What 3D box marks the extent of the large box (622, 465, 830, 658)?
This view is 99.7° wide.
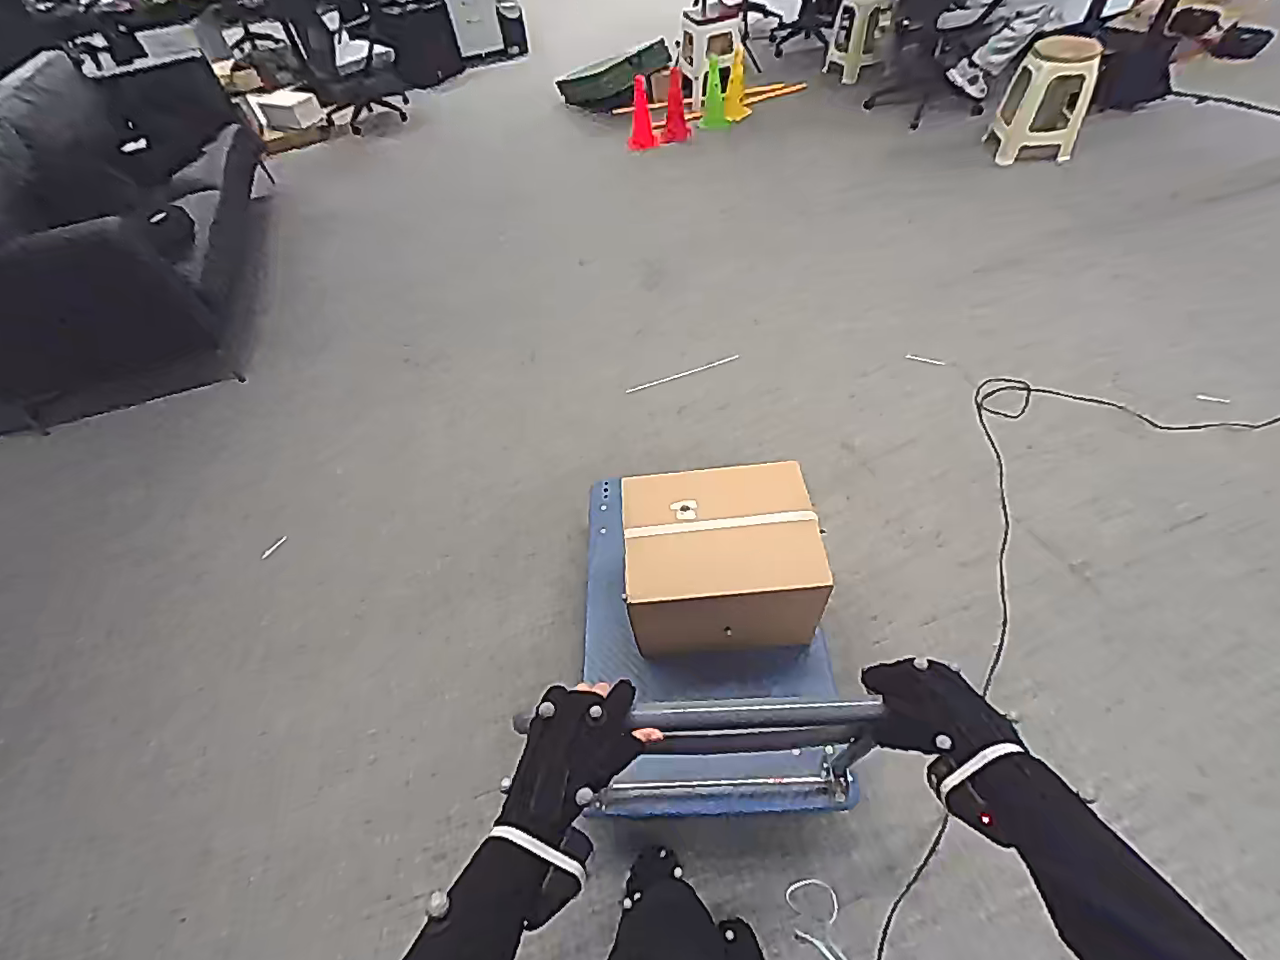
[{"bbox_3d":[0.185,0.200,1.267,0.408,0.320,0.320,-7,51,4],"label":"large box"}]
